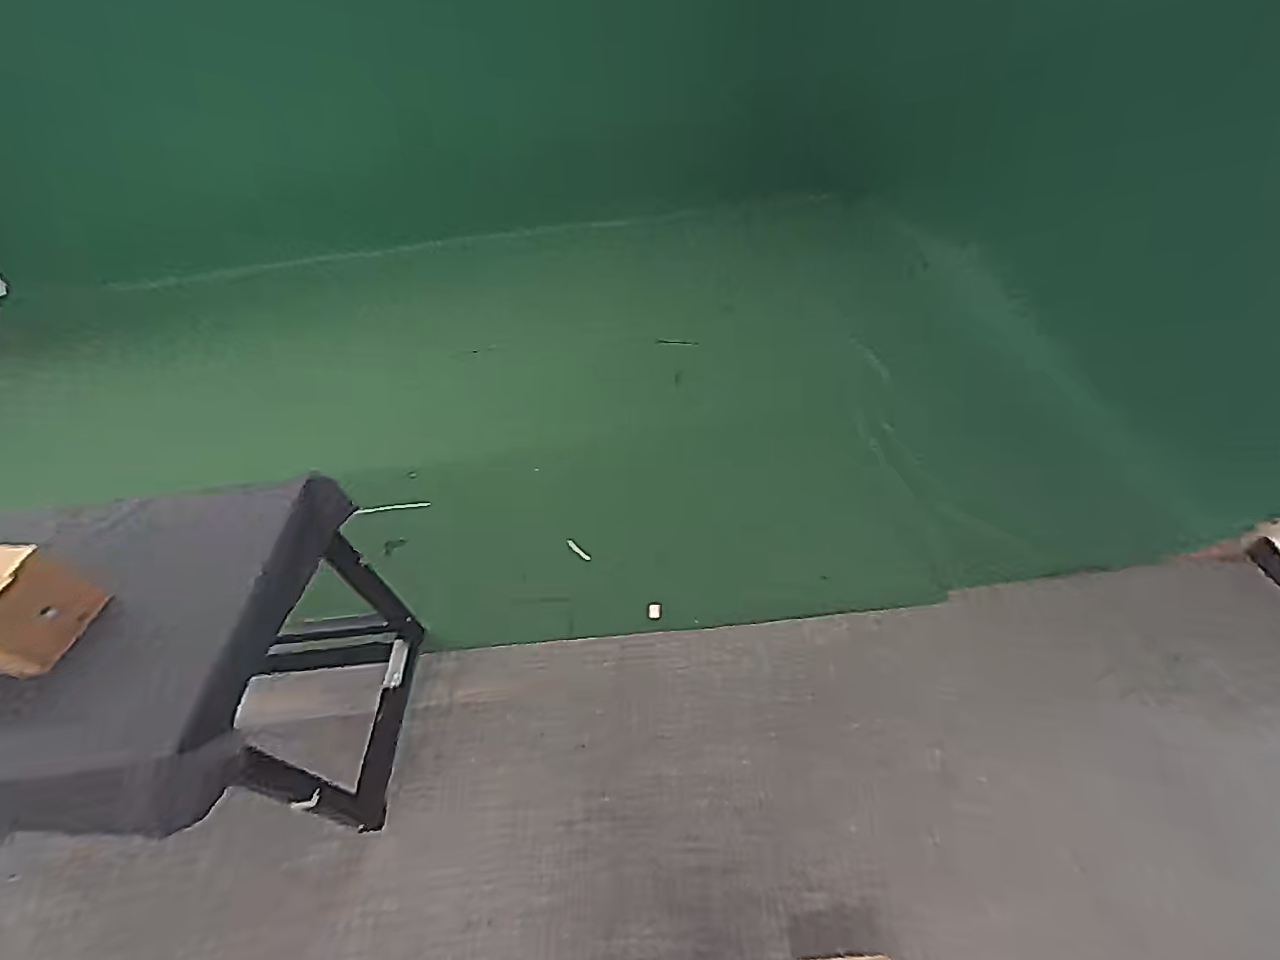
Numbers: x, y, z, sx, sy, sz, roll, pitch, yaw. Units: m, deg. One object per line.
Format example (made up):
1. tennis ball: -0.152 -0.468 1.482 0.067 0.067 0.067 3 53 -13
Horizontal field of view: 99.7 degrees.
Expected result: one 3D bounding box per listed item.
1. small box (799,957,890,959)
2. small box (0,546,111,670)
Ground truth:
1. small box: 0.394 1.019 1.028 0.179 0.176 0.168 -5 46 4
2. small box: -1.157 0.237 0.993 0.179 0.176 0.168 1 48 8
